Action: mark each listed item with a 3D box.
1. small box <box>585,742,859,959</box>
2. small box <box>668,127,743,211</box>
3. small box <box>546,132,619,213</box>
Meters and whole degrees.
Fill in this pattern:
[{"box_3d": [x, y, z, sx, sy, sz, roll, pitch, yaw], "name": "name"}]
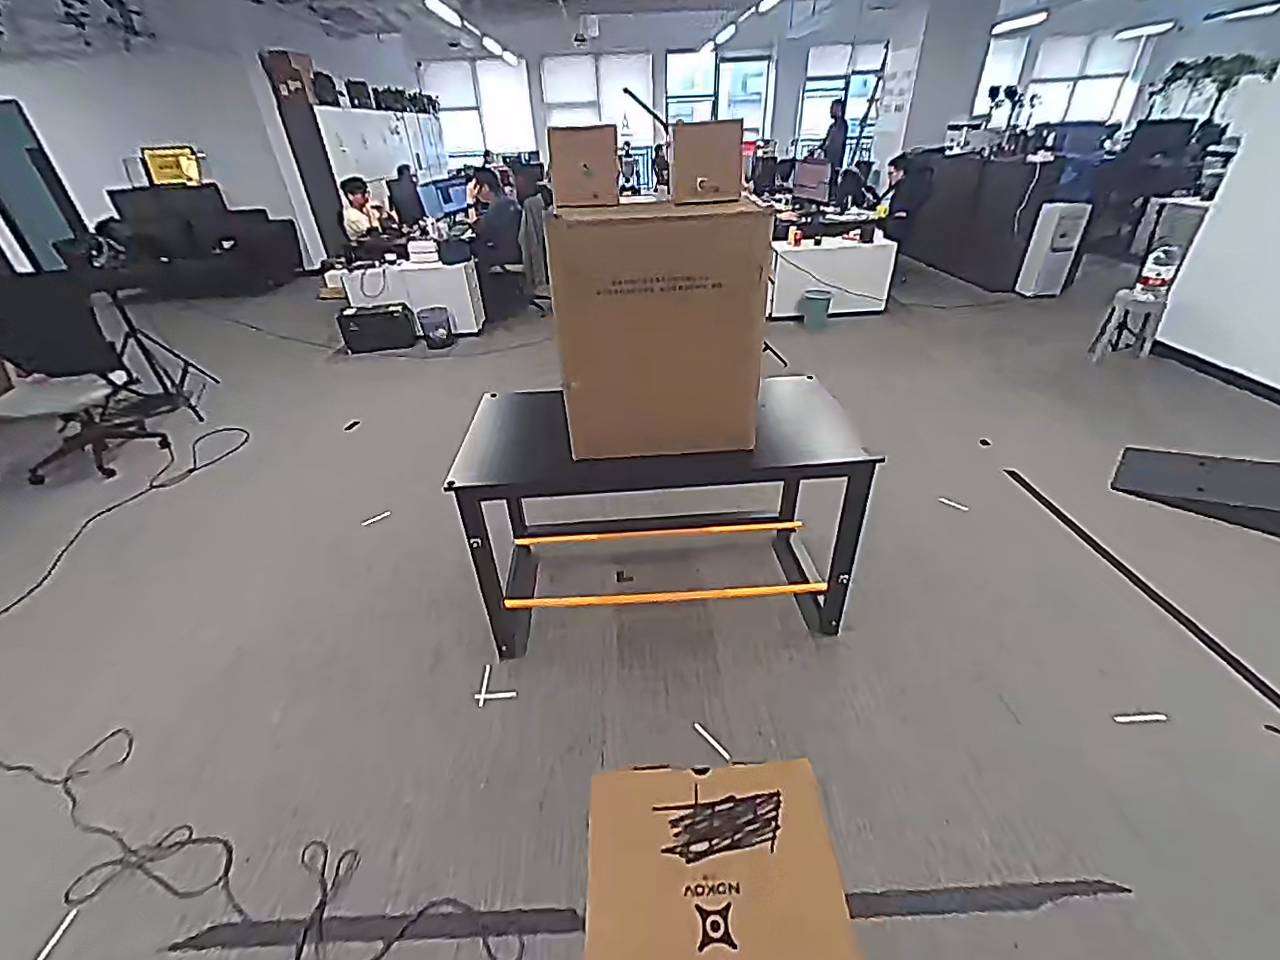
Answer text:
[{"box_3d": [0.052, 0.322, 0.403, 0.168, 0.176, 0.179, -4, 41, 1], "name": "small box"}, {"box_3d": [0.156, -0.772, 1.345, 0.168, 0.176, 0.179, -4, 32, 1], "name": "small box"}, {"box_3d": [-0.139, -0.778, 1.372, 0.168, 0.176, 0.179, -2, 32, -2], "name": "small box"}]
